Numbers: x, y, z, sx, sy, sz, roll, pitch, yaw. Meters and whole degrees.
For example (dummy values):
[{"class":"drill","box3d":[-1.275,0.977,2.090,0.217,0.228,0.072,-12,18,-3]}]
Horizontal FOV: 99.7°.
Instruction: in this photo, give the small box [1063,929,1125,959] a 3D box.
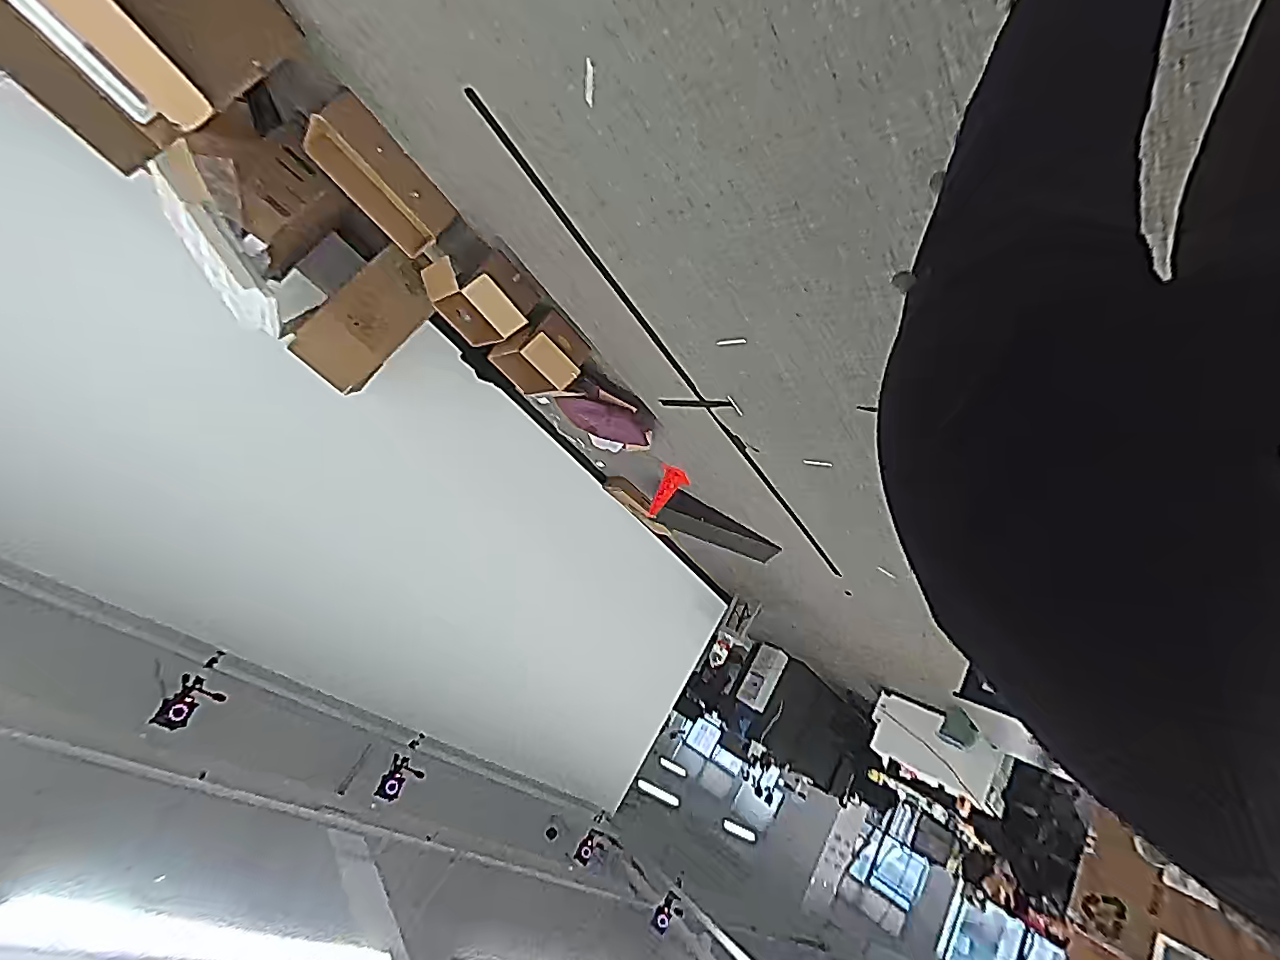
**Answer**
[{"class":"small box","box3d":[1.405,1.516,1.640,0.179,0.176,0.168,42,161,-31]}]
